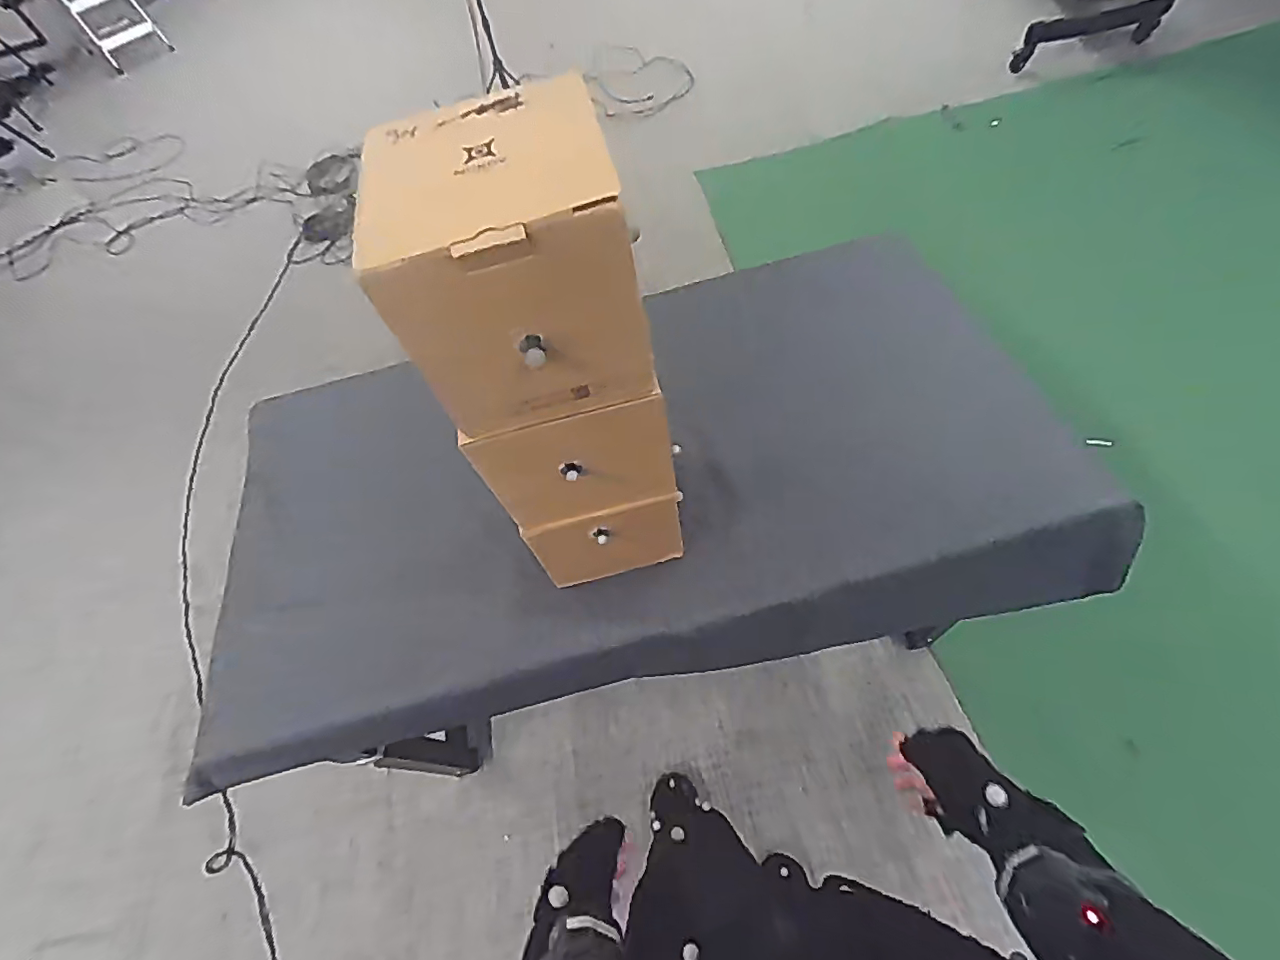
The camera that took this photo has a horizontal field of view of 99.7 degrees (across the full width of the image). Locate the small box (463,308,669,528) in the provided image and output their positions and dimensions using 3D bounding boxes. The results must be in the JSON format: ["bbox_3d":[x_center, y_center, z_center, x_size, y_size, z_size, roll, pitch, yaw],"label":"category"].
[{"bbox_3d":[-0.072,-0.073,0.558,0.179,0.176,0.168,-16,59,-2],"label":"small box"}]

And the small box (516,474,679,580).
[{"bbox_3d":[-0.055,0.013,0.697,0.179,0.176,0.168,-14,59,-1],"label":"small box"}]

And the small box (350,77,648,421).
[{"bbox_3d":[-0.096,-0.164,0.424,0.168,0.176,0.179,-14,59,1],"label":"small box"}]
